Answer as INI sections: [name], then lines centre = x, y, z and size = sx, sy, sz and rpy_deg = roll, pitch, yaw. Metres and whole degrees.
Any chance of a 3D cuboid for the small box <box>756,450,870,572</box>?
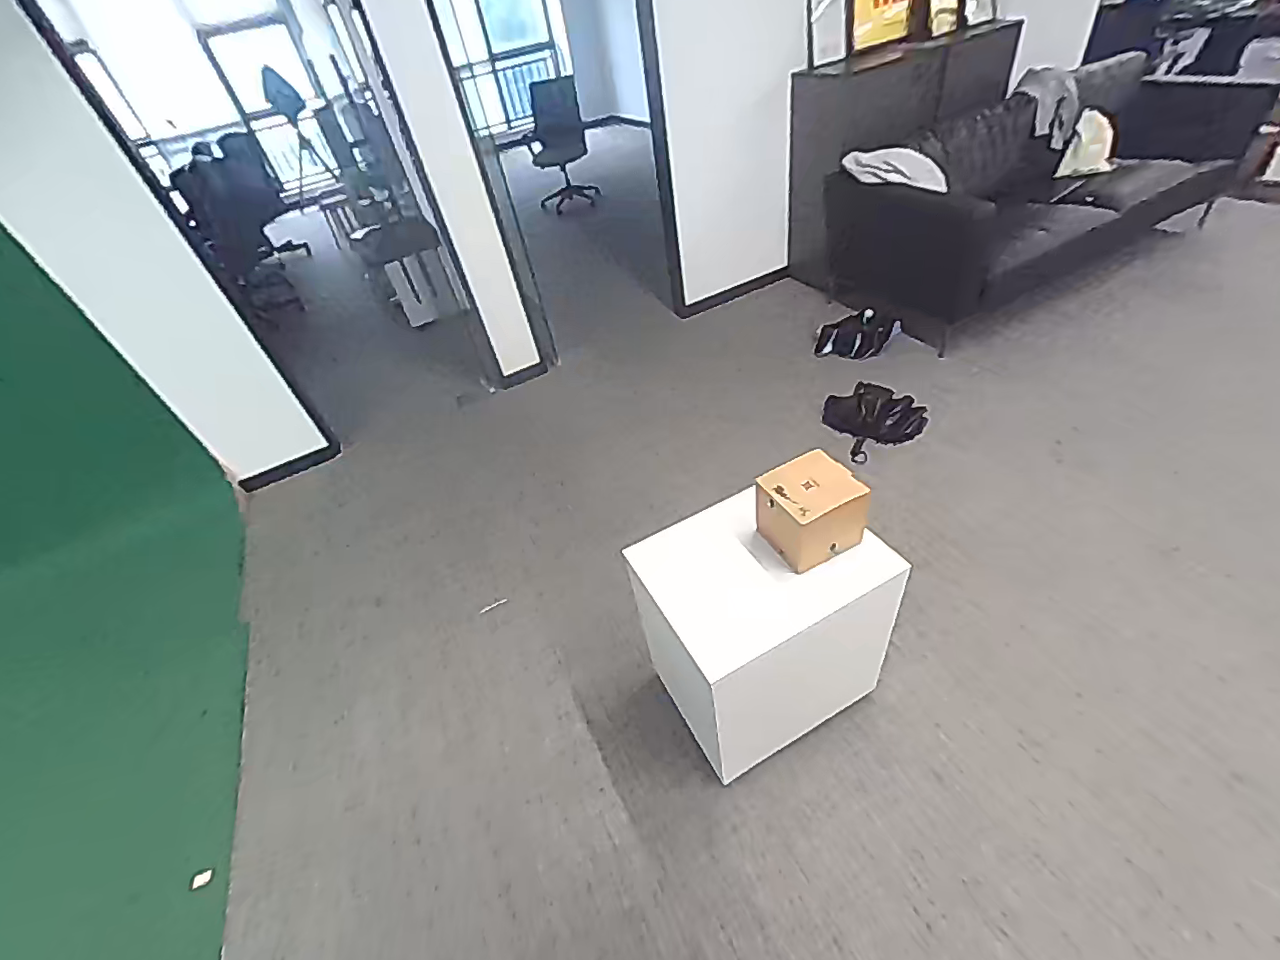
[small box]
centre = 0.369, 0.068, 1.191
size = 0.179, 0.176, 0.168
rpy_deg = -23, 44, -14
